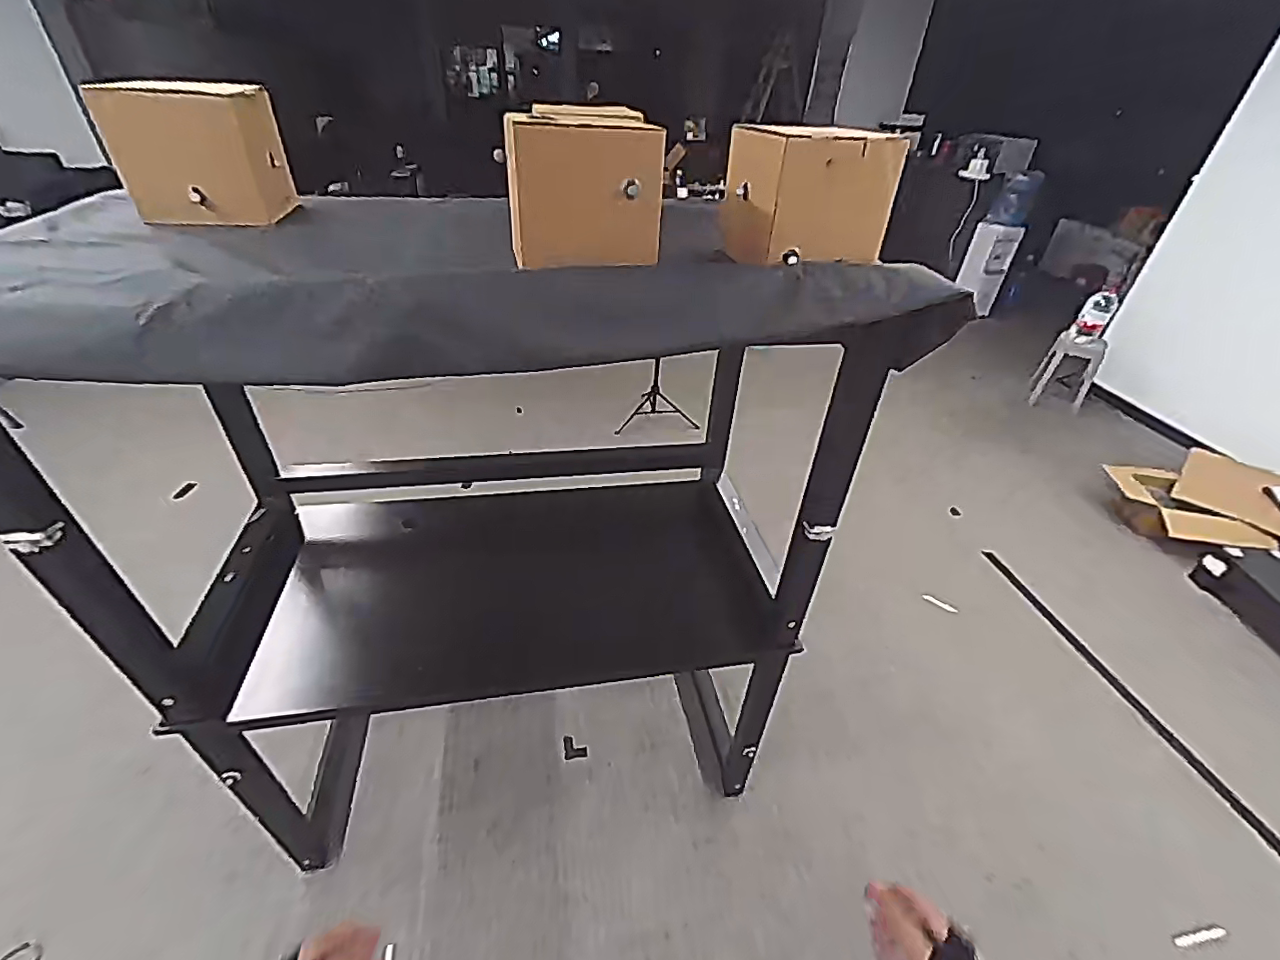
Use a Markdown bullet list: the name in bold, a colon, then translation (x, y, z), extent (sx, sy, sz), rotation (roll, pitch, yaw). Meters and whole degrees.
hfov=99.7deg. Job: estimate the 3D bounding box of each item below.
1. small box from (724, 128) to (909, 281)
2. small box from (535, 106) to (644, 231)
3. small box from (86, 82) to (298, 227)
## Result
- **small box**: translation (0.227, -0.381, 0.748), extent (0.168, 0.176, 0.179), rotation (-6, 37, -12)
- **small box**: translation (-0.090, -0.539, 0.937), extent (0.168, 0.176, 0.179), rotation (-5, 38, -11)
- **small box**: translation (-0.654, -0.492, 0.823), extent (0.179, 0.176, 0.168), rotation (-5, 38, -12)
